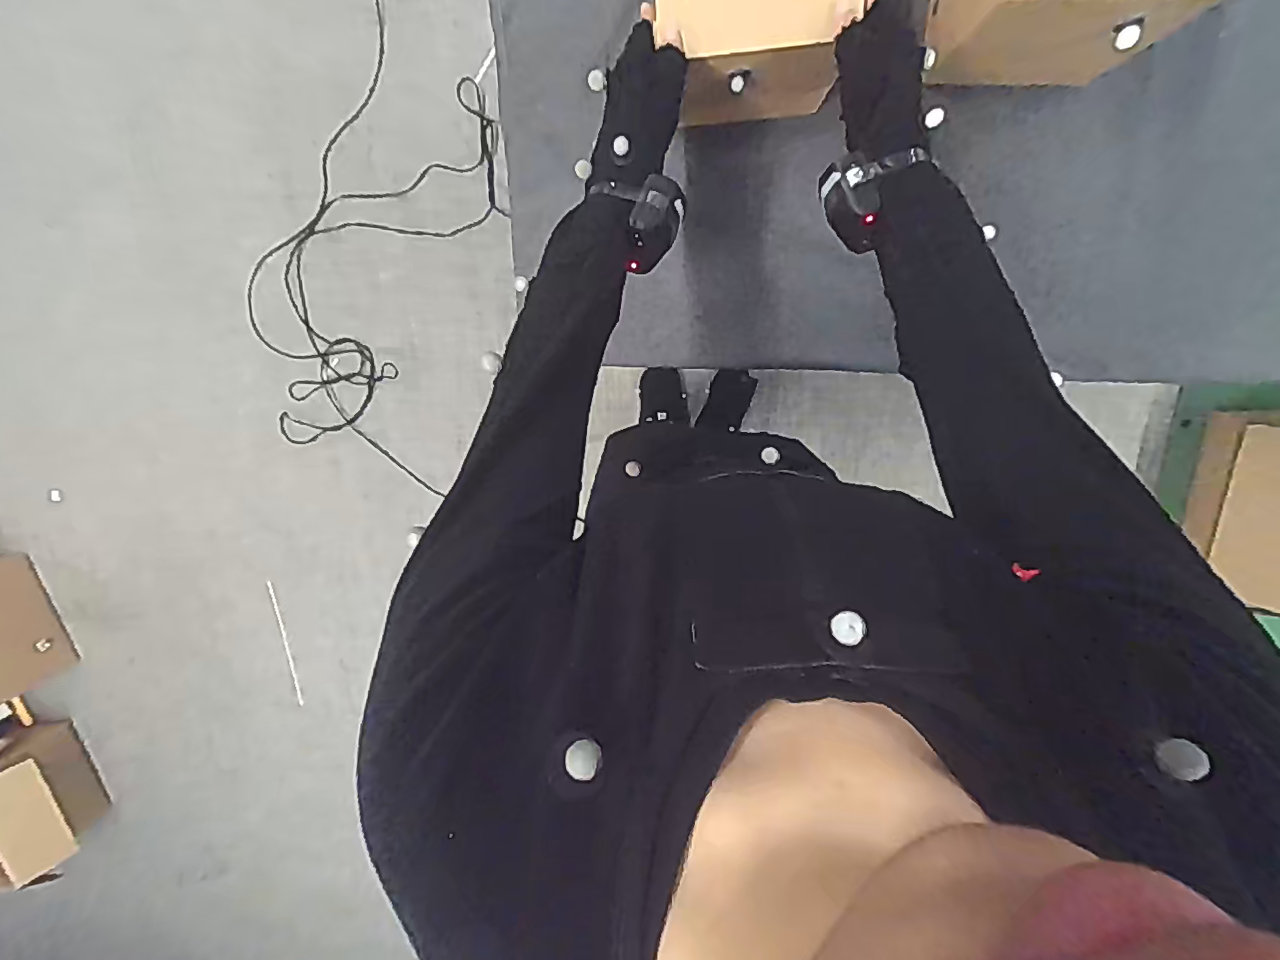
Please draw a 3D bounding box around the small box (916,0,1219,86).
[{"bbox_3d":[0.382,-0.482,0.483,0.179,0.176,0.168,3,106,3],"label":"small box"}]

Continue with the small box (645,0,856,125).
[{"bbox_3d":[0.096,-0.463,0.515,0.179,0.176,0.168,-2,106,4],"label":"small box"}]
